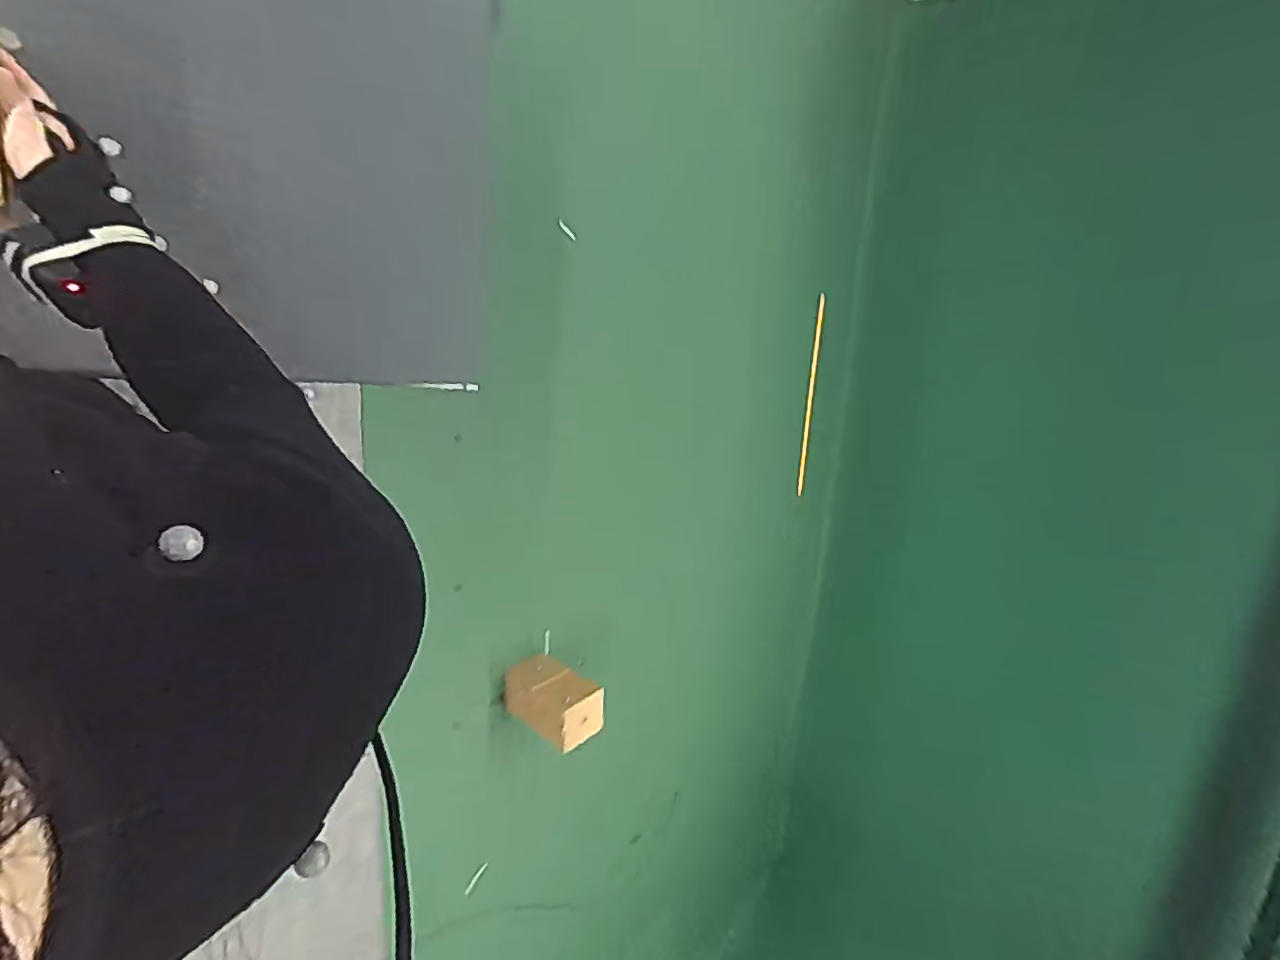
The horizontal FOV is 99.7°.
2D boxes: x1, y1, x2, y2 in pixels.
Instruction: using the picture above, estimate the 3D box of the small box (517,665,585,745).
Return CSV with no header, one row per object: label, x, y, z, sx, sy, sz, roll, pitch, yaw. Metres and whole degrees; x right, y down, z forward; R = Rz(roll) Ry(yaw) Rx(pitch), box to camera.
small box,-0.314,0.782,1.904,0.179,0.176,0.168,-15,112,-47
